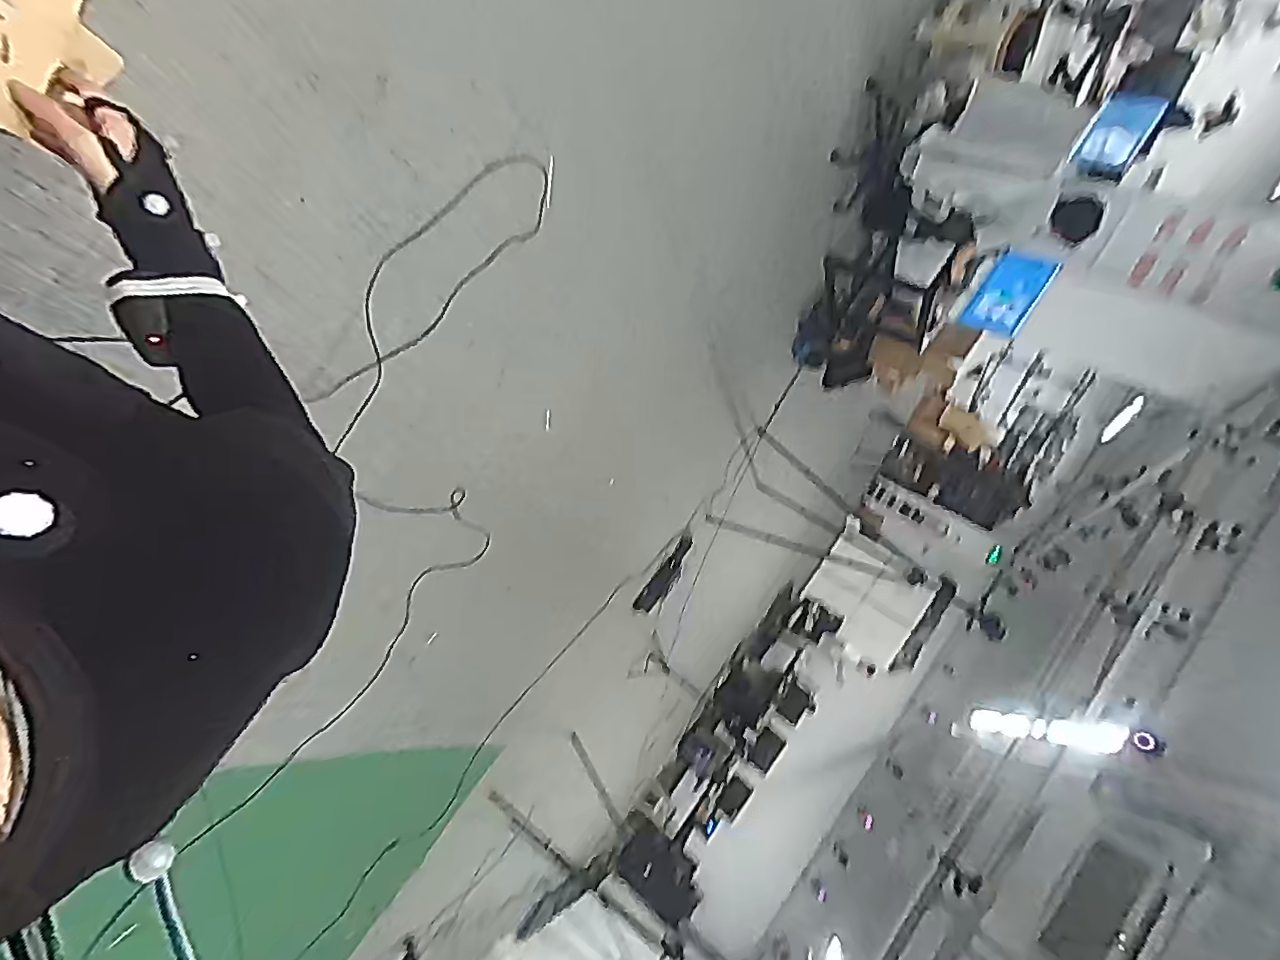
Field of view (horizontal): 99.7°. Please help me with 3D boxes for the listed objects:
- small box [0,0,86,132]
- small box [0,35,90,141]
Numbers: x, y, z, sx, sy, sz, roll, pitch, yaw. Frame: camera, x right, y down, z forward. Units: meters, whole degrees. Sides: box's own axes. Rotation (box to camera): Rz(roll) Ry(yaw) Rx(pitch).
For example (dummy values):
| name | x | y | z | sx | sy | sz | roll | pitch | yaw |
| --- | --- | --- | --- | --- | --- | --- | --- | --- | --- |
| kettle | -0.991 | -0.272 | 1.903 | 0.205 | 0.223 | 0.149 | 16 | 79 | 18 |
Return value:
| name | x | y | z | sx | sy | sz | roll | pitch | yaw |
| --- | --- | --- | --- | --- | --- | --- | --- | --- | --- |
| small box | -0.531 | -0.378 | 0.358 | 0.168 | 0.176 | 0.179 | -65 | 161 | 3 |
| small box | -0.957 | -0.633 | 0.775 | 0.179 | 0.176 | 0.168 | -57 | 152 | -1 |
